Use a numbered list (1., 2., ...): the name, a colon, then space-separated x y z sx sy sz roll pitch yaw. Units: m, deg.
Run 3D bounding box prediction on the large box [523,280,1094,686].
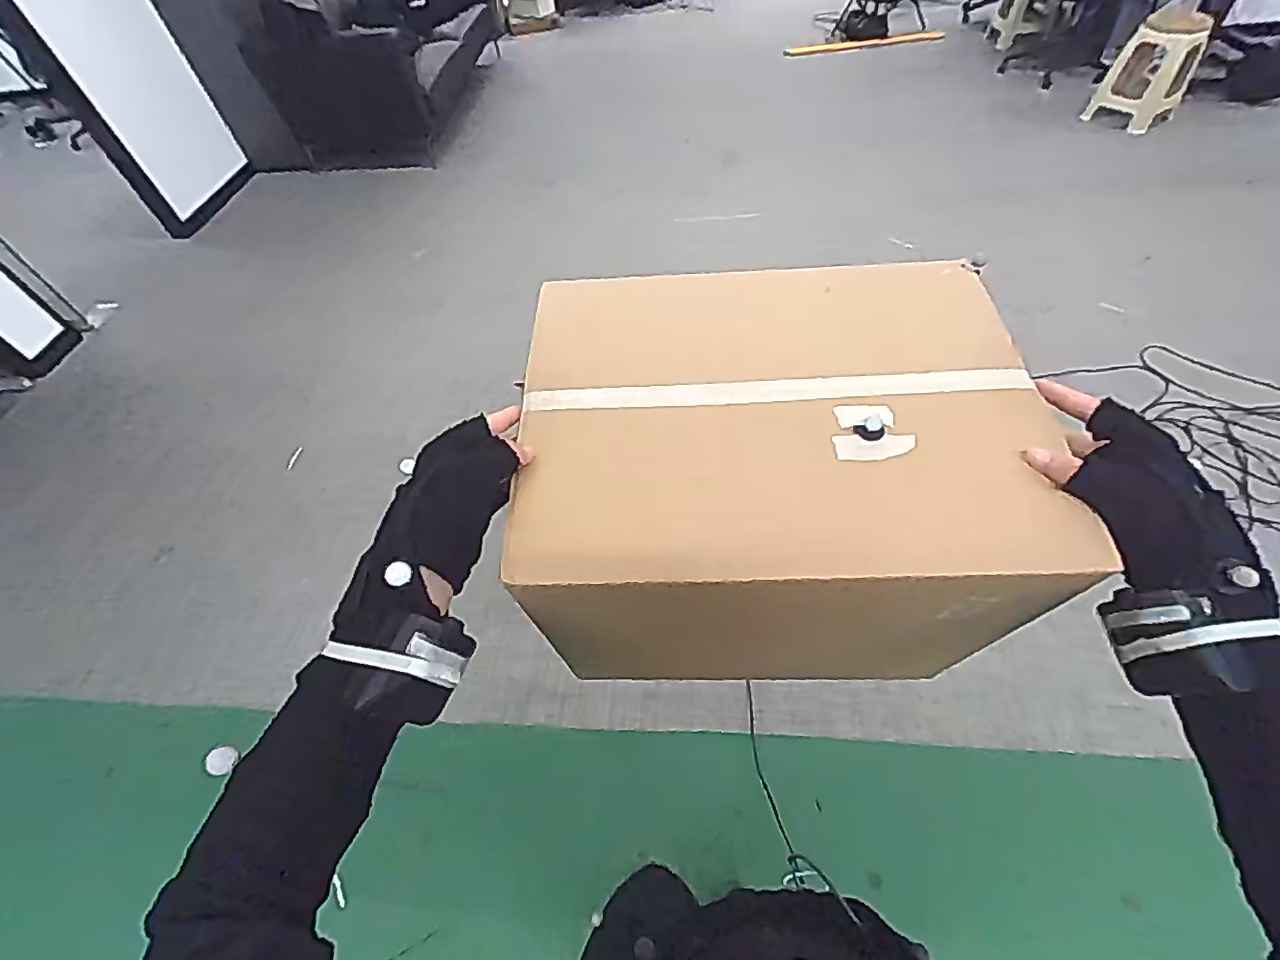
1. large box: 0.117 0.022 0.577 0.408 0.320 0.320 -2 58 2
